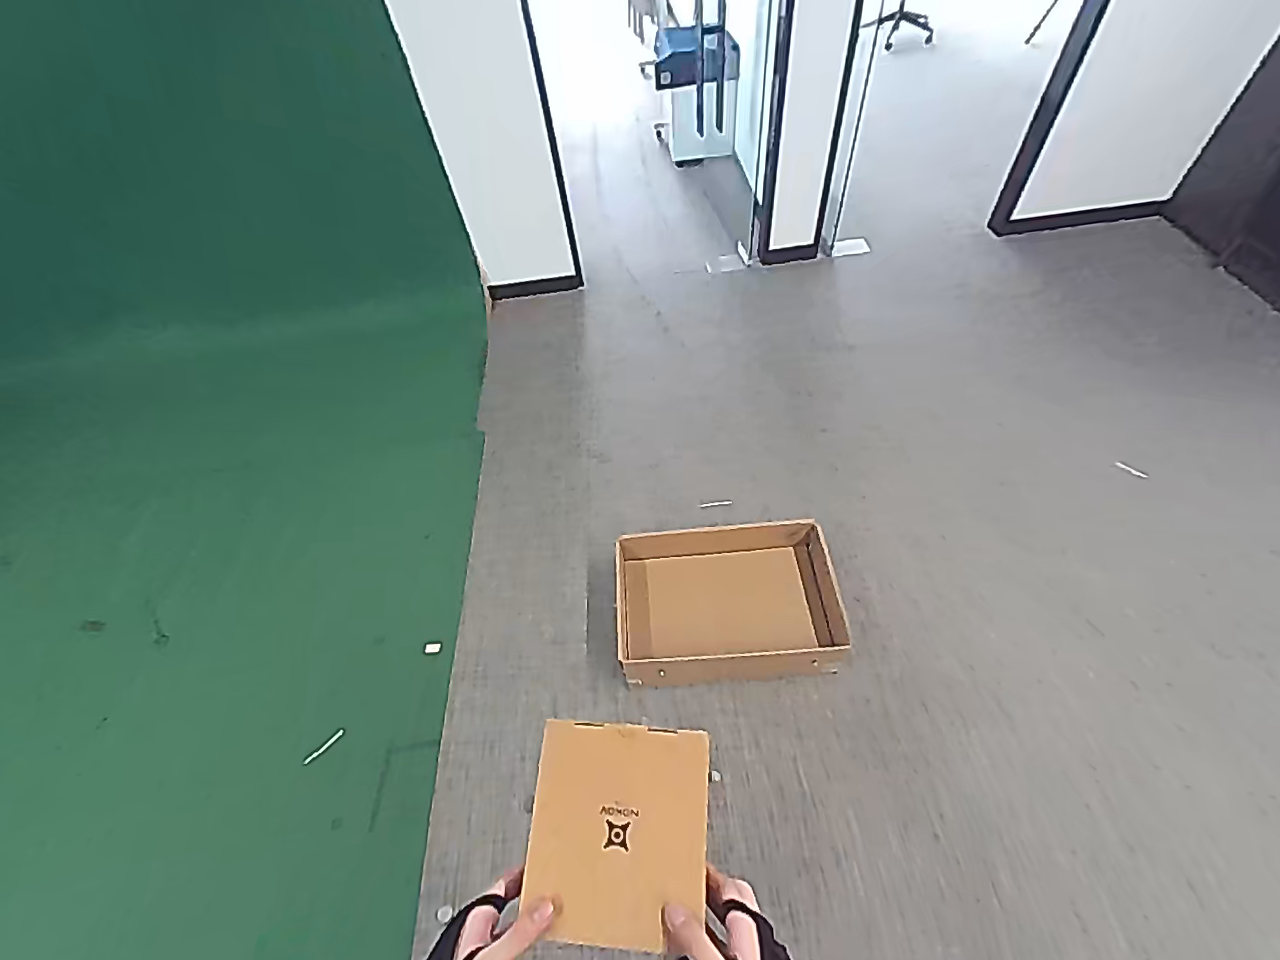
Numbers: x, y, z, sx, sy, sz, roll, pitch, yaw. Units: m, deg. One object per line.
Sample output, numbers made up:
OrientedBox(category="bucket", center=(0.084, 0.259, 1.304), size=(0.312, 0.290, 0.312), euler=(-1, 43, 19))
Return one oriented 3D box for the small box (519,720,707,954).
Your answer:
OrientedBox(category="small box", center=(-0.015, 0.353, 0.568), size=(0.168, 0.176, 0.179), euler=(1, 64, 4))
